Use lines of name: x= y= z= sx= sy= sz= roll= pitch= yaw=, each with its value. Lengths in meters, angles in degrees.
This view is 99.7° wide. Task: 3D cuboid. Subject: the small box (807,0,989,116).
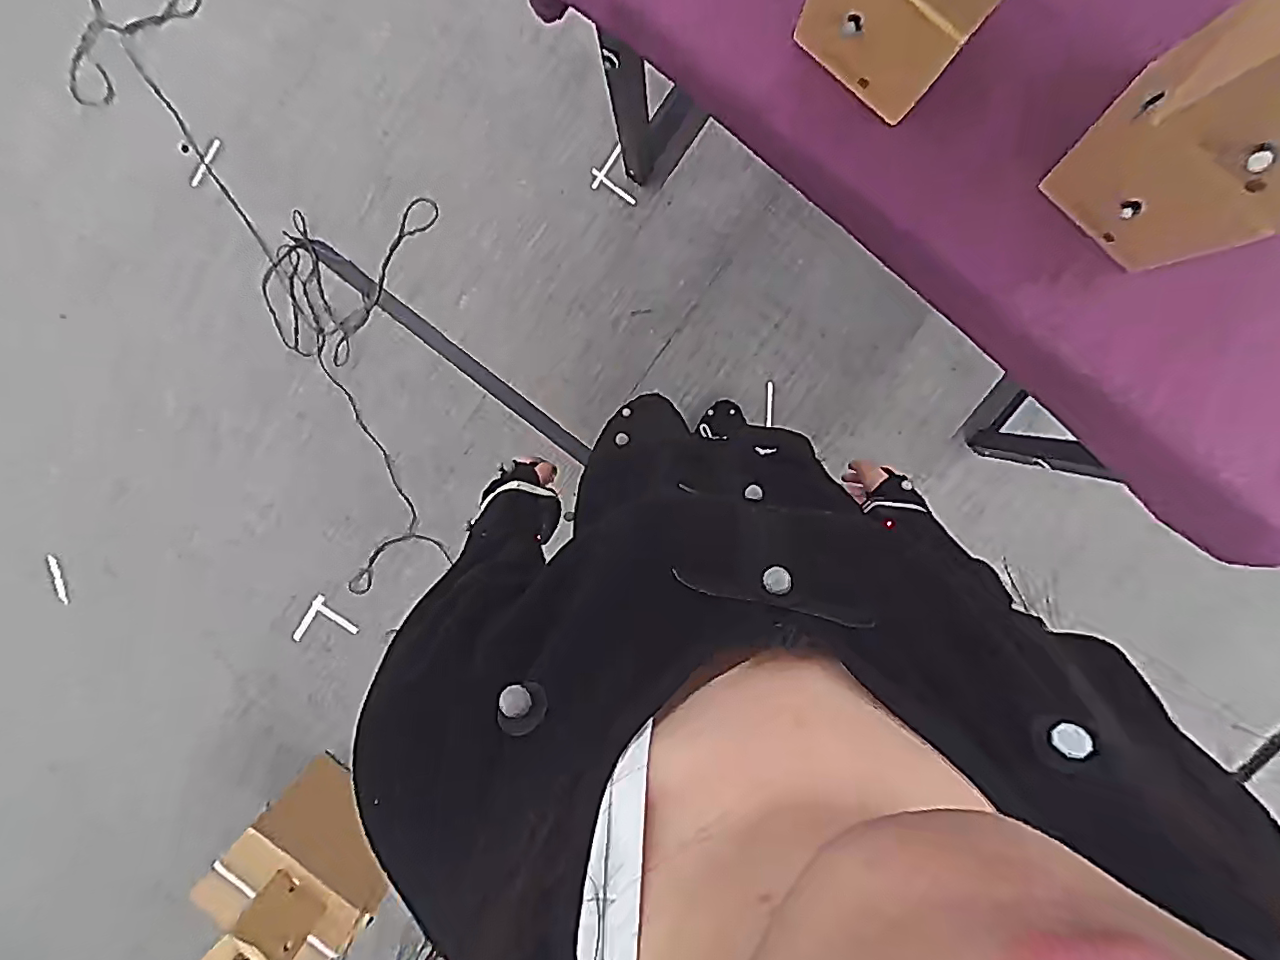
small box: x=0.301 y=-0.545 z=0.575 sx=0.168 sy=0.176 sz=0.179 roll=38 pitch=98 yaw=-4

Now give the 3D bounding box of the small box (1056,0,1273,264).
small box: x=0.609 y=-0.368 z=0.588 sx=0.168 sy=0.176 sz=0.179 roll=40 pitch=99 yaw=-4

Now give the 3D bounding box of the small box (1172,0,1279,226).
small box: x=0.605 y=-0.342 z=0.426 sx=0.168 sy=0.176 sz=0.179 roll=40 pitch=99 yaw=-4
